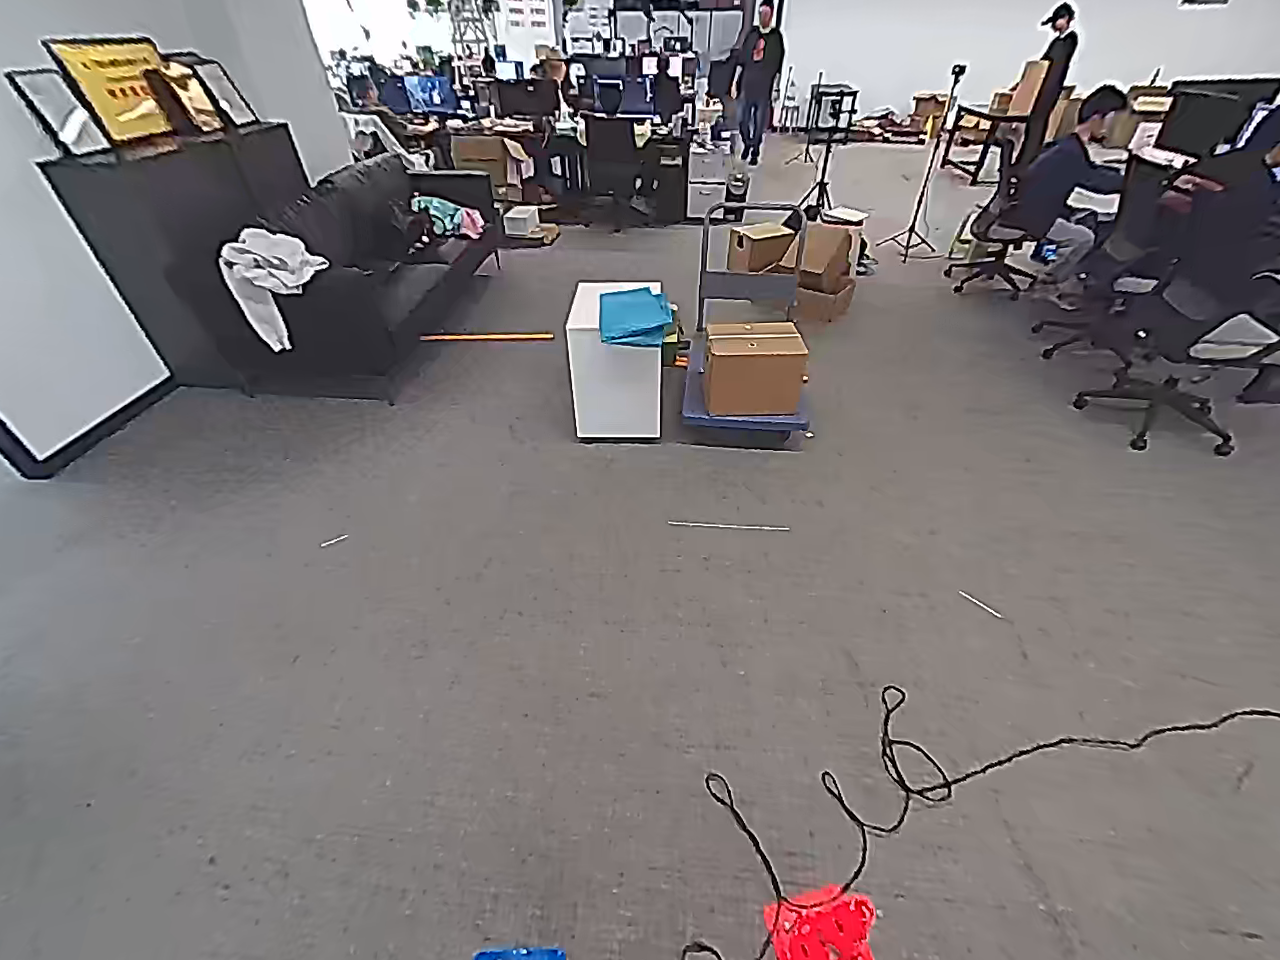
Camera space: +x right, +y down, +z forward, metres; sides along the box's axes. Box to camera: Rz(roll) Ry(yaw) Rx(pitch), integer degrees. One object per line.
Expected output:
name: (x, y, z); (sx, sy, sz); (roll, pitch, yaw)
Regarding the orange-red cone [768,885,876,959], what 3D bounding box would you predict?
orange-red cone: (0.394, 0.883, 1.056); (0.198, 0.360, 0.199); (-10, 42, -9)
